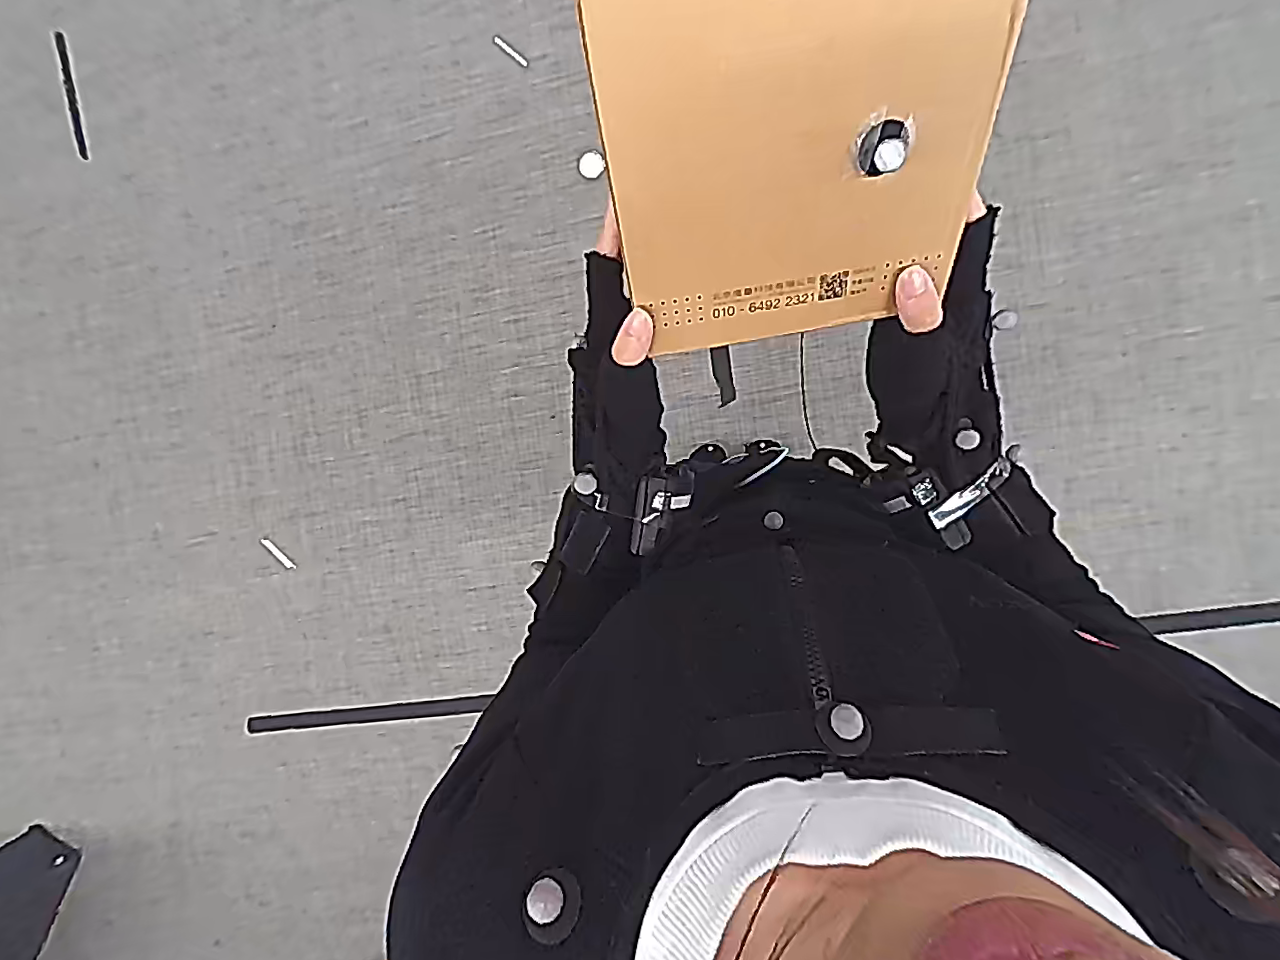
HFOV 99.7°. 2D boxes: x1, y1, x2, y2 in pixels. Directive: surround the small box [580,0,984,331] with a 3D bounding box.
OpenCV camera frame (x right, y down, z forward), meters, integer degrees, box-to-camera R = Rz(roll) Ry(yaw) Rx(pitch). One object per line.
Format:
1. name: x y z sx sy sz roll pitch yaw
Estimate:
1. small box: 0.067 -0.202 0.313 0.168 0.176 0.179 -8 48 5
